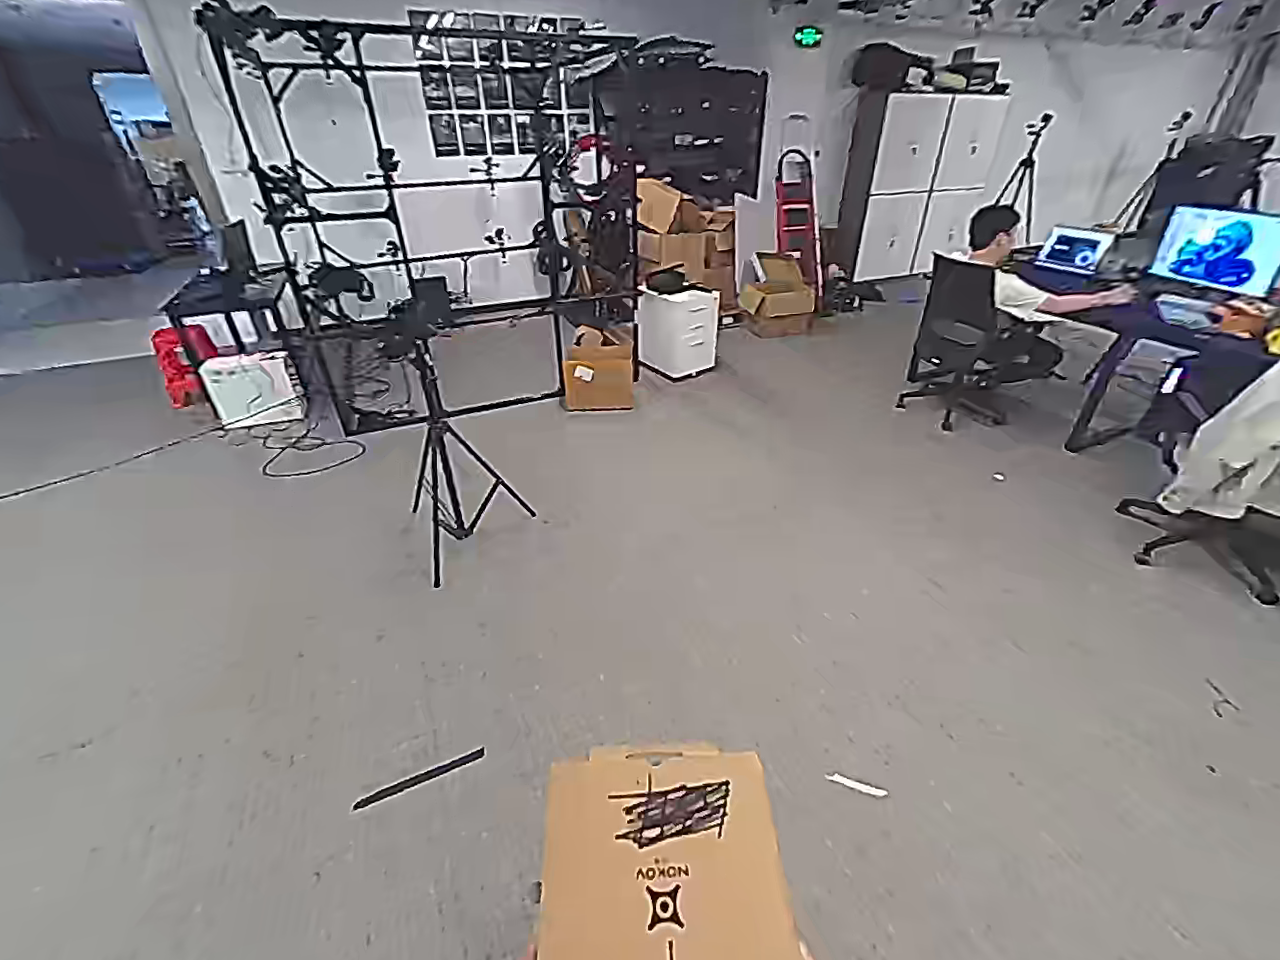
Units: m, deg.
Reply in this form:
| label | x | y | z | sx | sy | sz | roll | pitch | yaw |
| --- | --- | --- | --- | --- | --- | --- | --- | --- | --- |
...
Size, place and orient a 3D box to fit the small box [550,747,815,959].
| label | x | y | z | sx | sy | sz | roll | pitch | yaw |
| --- | --- | --- | --- | --- | --- | --- | --- | --- | --- |
| small box | 0.022 | 0.329 | 0.410 | 0.168 | 0.176 | 0.179 | -1 | 41 | -3 |
